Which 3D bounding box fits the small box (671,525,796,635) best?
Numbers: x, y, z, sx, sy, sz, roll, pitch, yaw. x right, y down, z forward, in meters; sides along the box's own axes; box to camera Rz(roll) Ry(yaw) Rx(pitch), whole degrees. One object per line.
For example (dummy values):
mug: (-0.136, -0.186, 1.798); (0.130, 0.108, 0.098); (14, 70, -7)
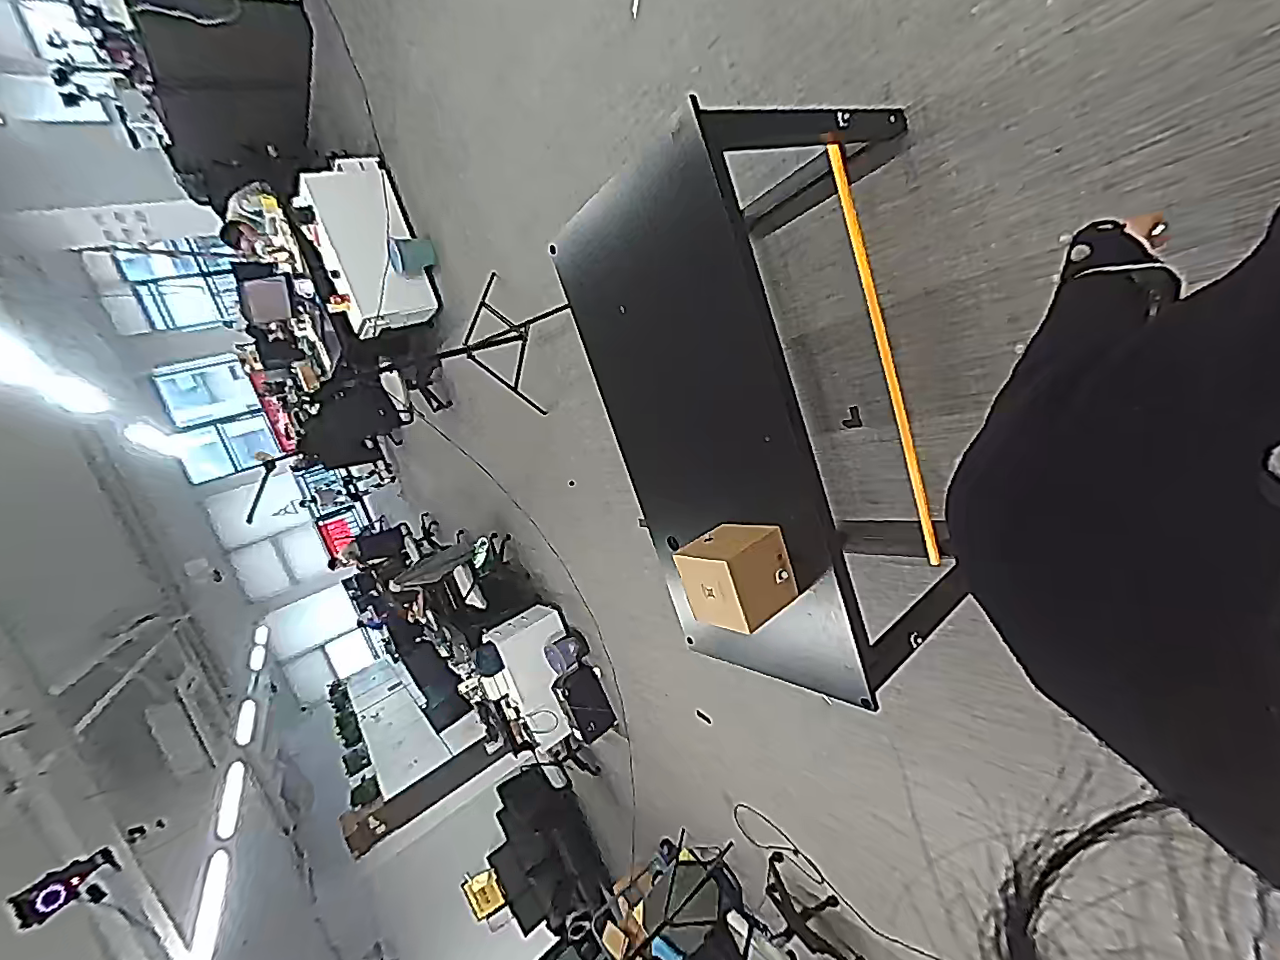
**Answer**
small box: (0.201, 0.204, 1.160); (0.179, 0.176, 0.168); (-5, 108, 56)
